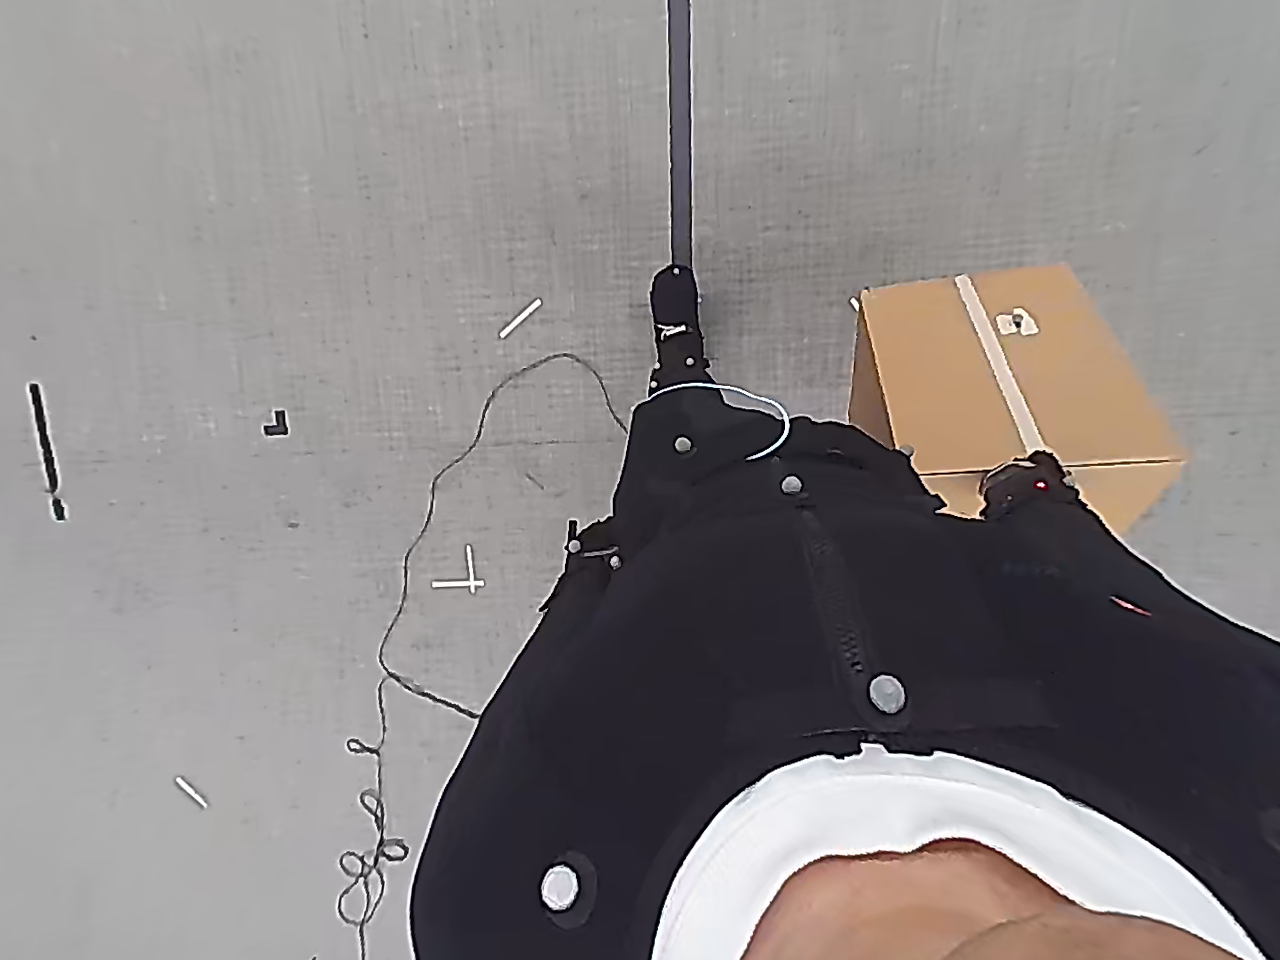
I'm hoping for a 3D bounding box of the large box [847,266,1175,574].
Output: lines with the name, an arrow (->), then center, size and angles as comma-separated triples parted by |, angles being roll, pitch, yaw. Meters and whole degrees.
large box -> 0.547, -0.092, 0.914 | 0.320, 0.408, 0.320 | -3, 143, 13
